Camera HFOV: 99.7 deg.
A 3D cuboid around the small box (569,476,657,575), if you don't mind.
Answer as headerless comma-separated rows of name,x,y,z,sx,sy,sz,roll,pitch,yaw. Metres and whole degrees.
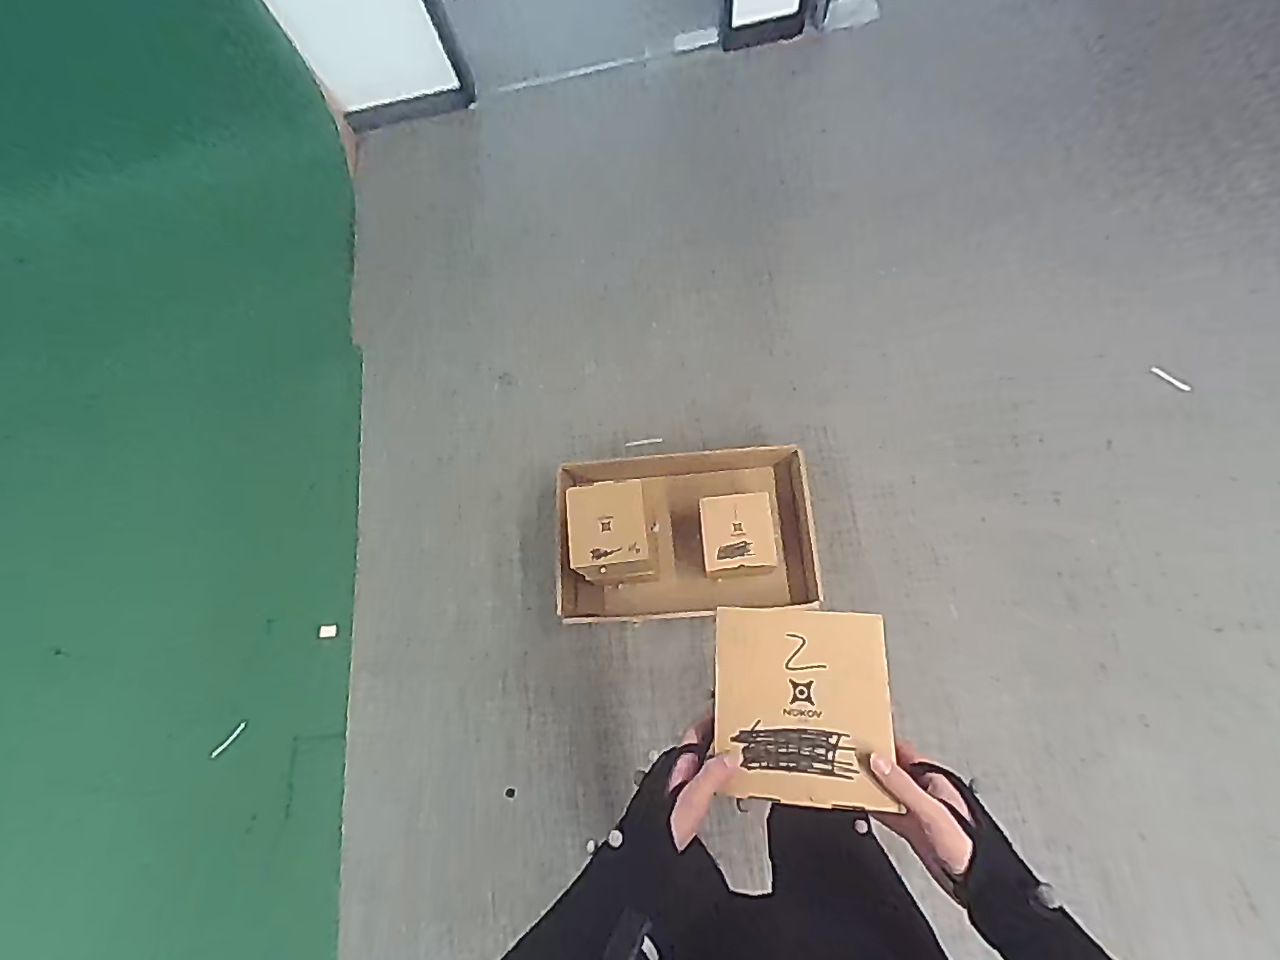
small box,-0.057,0.106,1.198,0.168,0.176,0.179,-7,72,6
